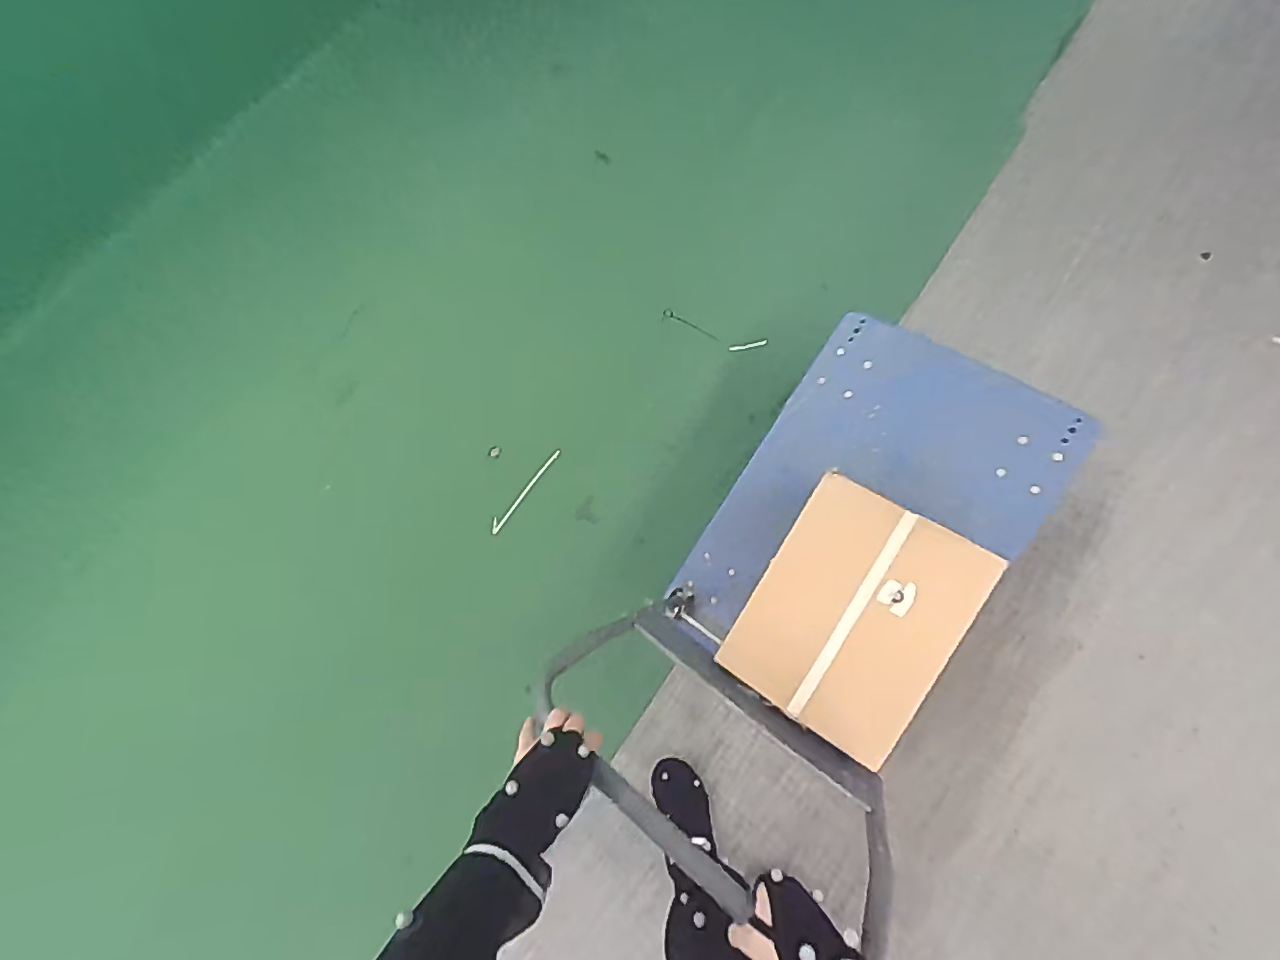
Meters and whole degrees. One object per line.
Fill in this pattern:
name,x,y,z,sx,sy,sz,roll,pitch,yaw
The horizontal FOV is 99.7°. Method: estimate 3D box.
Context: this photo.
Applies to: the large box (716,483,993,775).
large box,0.407,0.272,1.077,0.320,0.320,0.408,32,92,21
